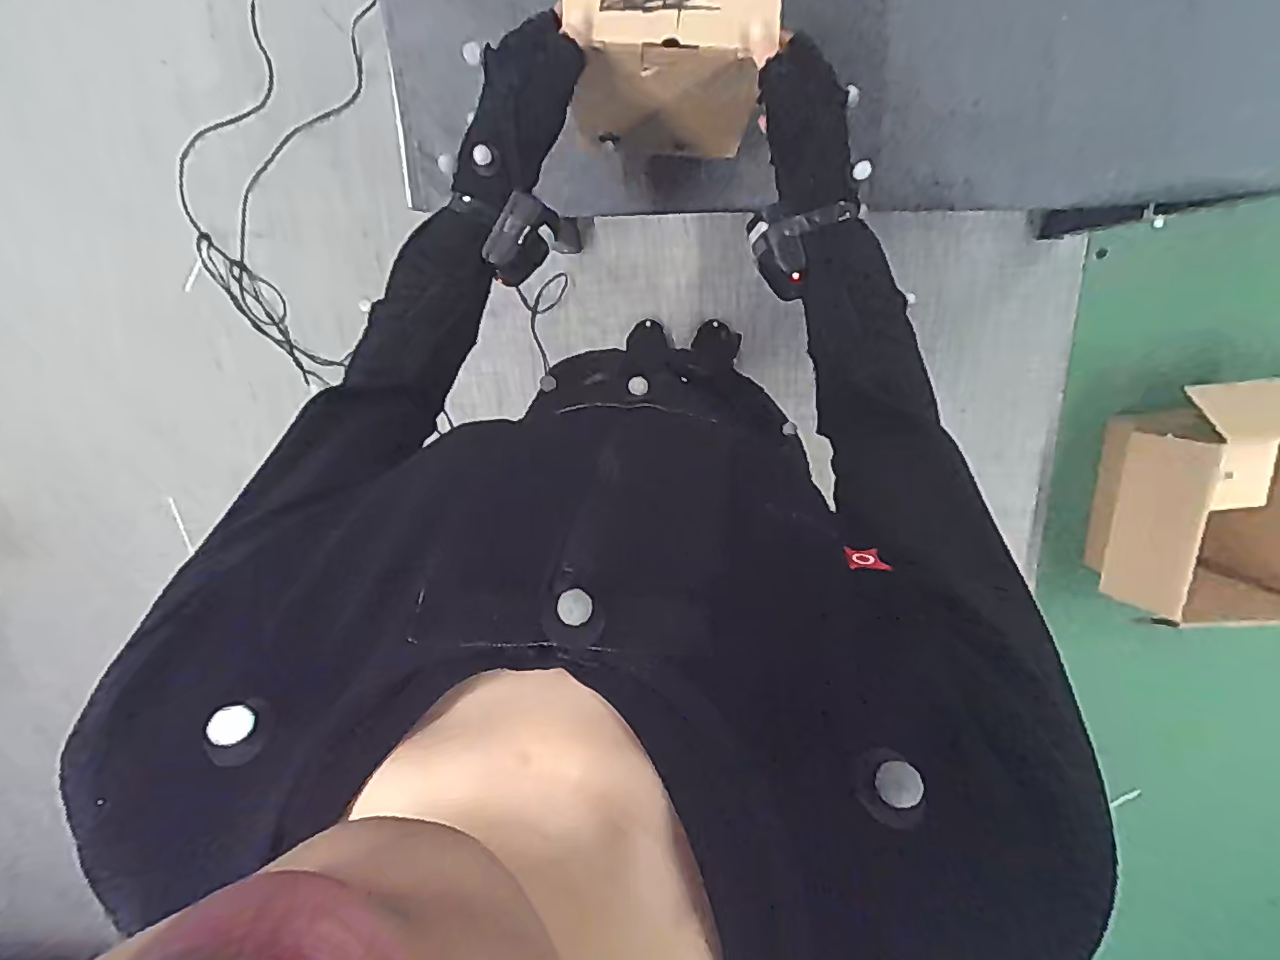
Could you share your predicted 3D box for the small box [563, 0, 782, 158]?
[{"bbox_3d":[0.024,-0.413,0.475,0.168,0.176,0.179,2,96,-4],"label":"small box"}]
